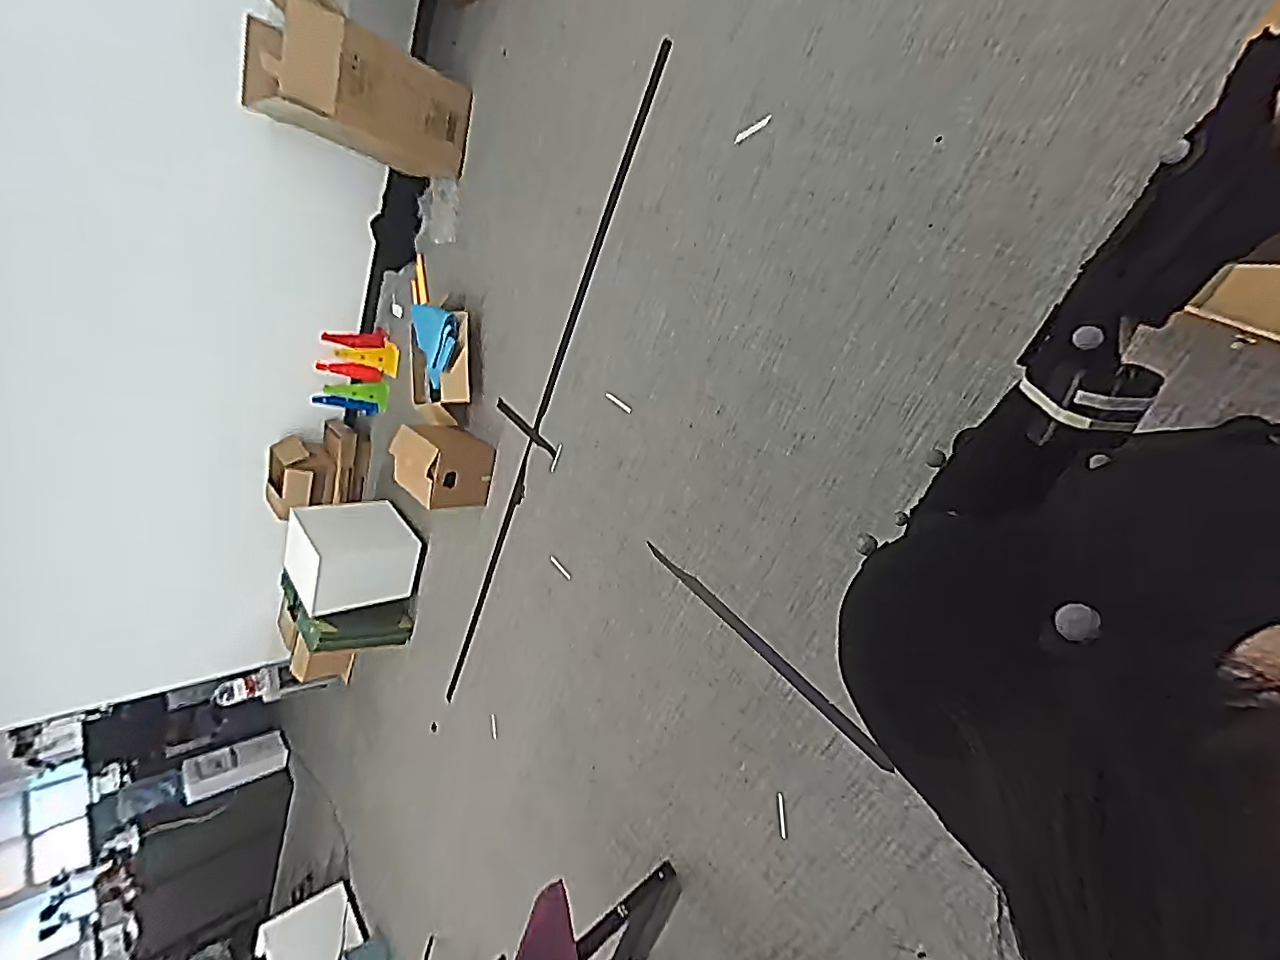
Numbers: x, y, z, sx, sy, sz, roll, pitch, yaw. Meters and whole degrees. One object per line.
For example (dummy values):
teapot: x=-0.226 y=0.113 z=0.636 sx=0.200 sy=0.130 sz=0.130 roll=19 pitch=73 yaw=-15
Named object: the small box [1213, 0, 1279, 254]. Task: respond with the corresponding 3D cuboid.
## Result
small box: x=0.457 y=-0.240 z=0.280 sx=0.168 sy=0.176 sz=0.179 roll=12 pitch=90 yaw=28
